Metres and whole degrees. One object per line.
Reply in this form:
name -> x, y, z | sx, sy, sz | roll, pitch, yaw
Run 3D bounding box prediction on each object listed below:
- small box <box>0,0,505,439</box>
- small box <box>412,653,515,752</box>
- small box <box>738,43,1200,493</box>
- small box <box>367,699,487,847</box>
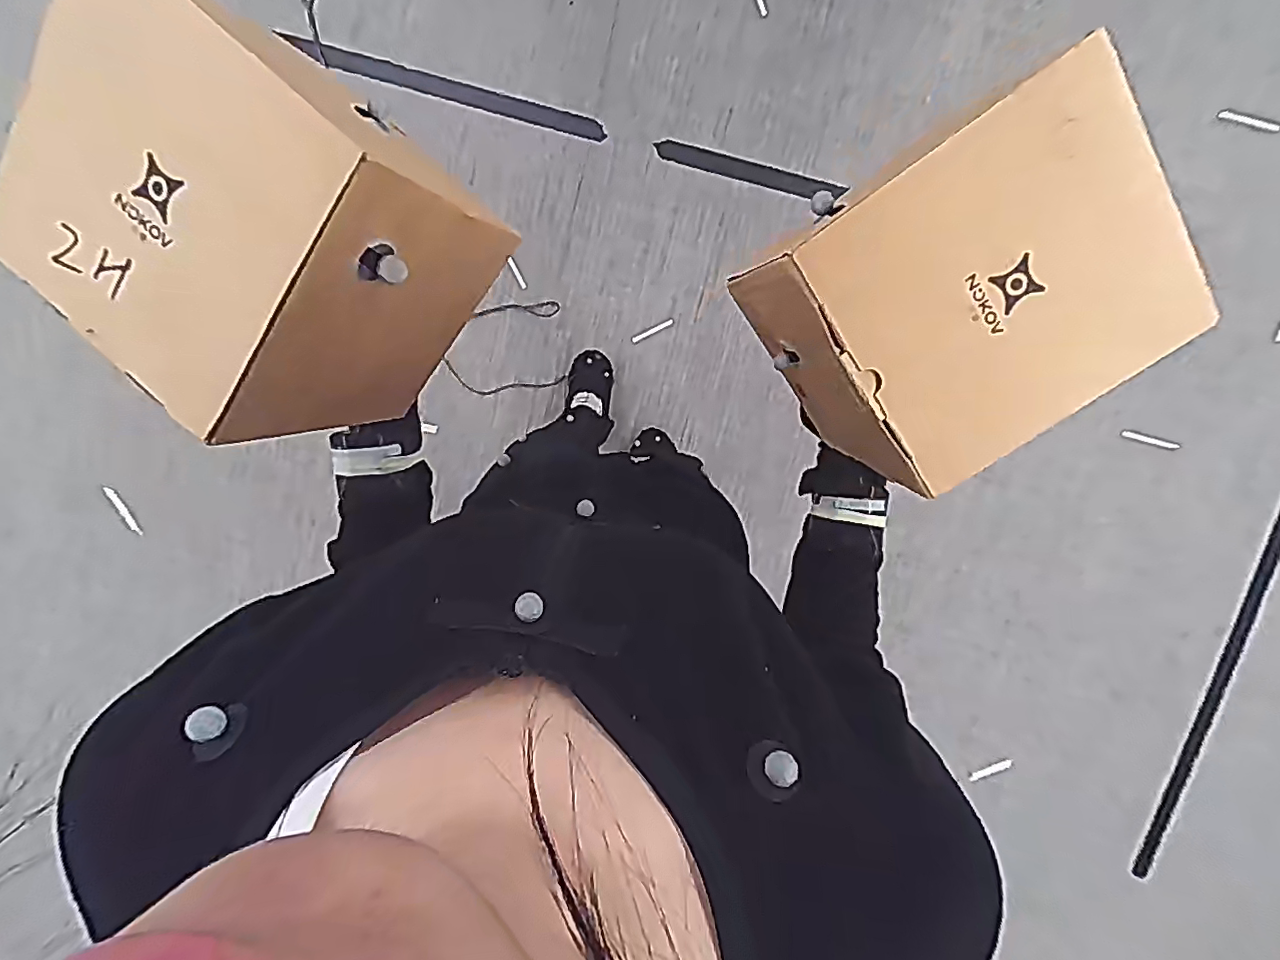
small box -> -0.211, -0.152, 0.339 | 0.168, 0.176, 0.179 | 42, 107, 1
small box -> -0.392, 0.503, 1.175 | 0.179, 0.176, 0.168 | 22, 97, -1
small box -> 0.191, -0.124, 0.366 | 0.179, 0.176, 0.168 | -35, 104, 8
small box -> -0.395, 0.539, 1.016 | 0.168, 0.176, 0.179 | 7, 98, 1
